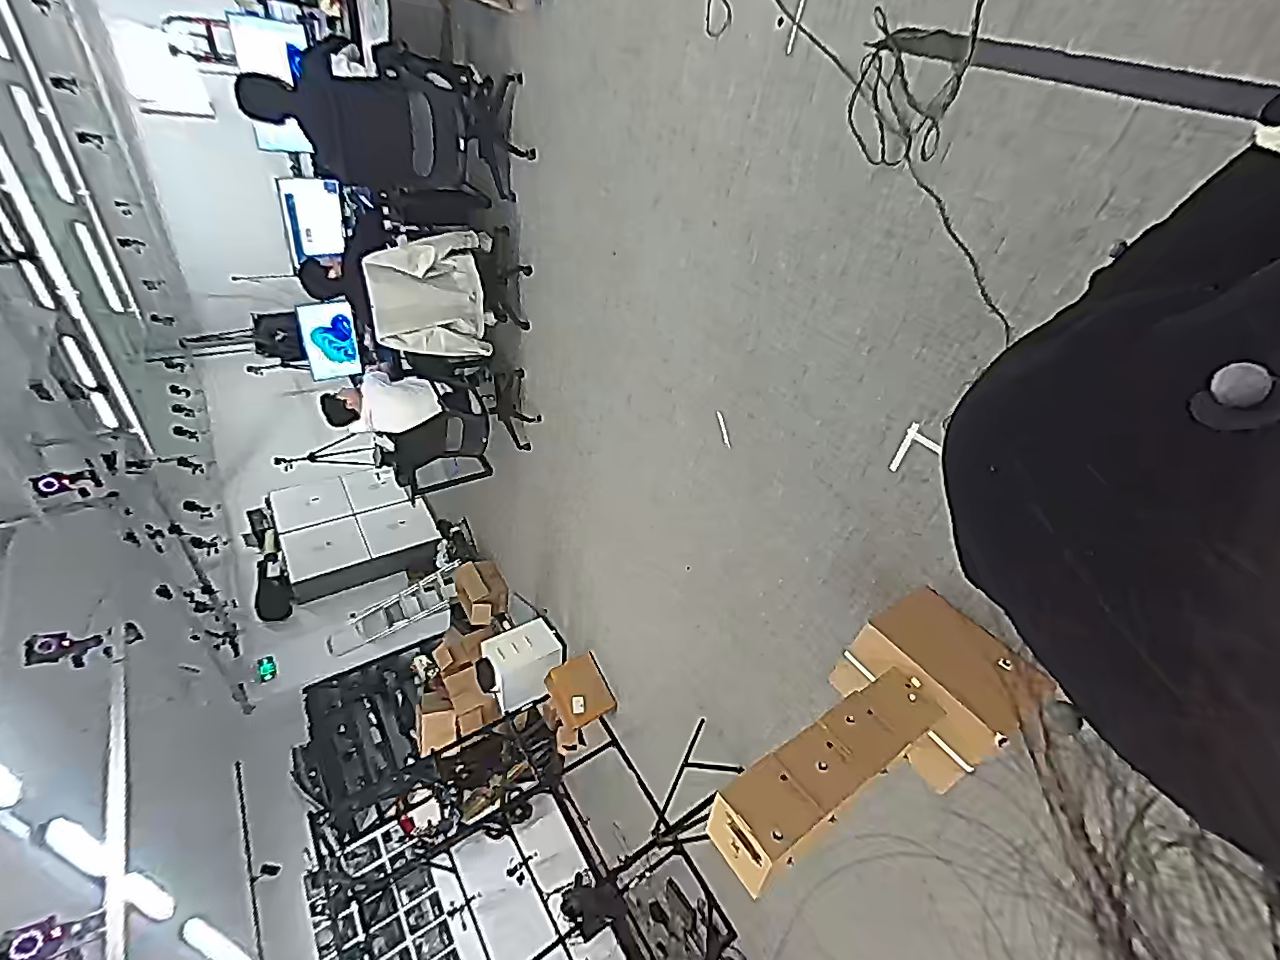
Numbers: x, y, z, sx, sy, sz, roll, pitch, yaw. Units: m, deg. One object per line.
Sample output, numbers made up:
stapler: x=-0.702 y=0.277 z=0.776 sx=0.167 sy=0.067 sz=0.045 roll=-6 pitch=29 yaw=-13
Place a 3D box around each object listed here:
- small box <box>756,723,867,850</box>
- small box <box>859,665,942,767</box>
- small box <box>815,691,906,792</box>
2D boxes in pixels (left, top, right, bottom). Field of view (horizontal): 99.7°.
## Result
small box: x=0.410 y=0.721 z=1.290 sx=0.168 sy=0.176 sz=0.179 roll=41 pitch=136 yaw=42
small box: x=0.676 y=0.641 z=1.462 sx=0.168 sy=0.176 sz=0.179 roll=45 pitch=138 yaw=37
small box: x=0.543 y=0.674 z=1.377 sx=0.168 sy=0.176 sz=0.179 roll=45 pitch=140 yaw=39
